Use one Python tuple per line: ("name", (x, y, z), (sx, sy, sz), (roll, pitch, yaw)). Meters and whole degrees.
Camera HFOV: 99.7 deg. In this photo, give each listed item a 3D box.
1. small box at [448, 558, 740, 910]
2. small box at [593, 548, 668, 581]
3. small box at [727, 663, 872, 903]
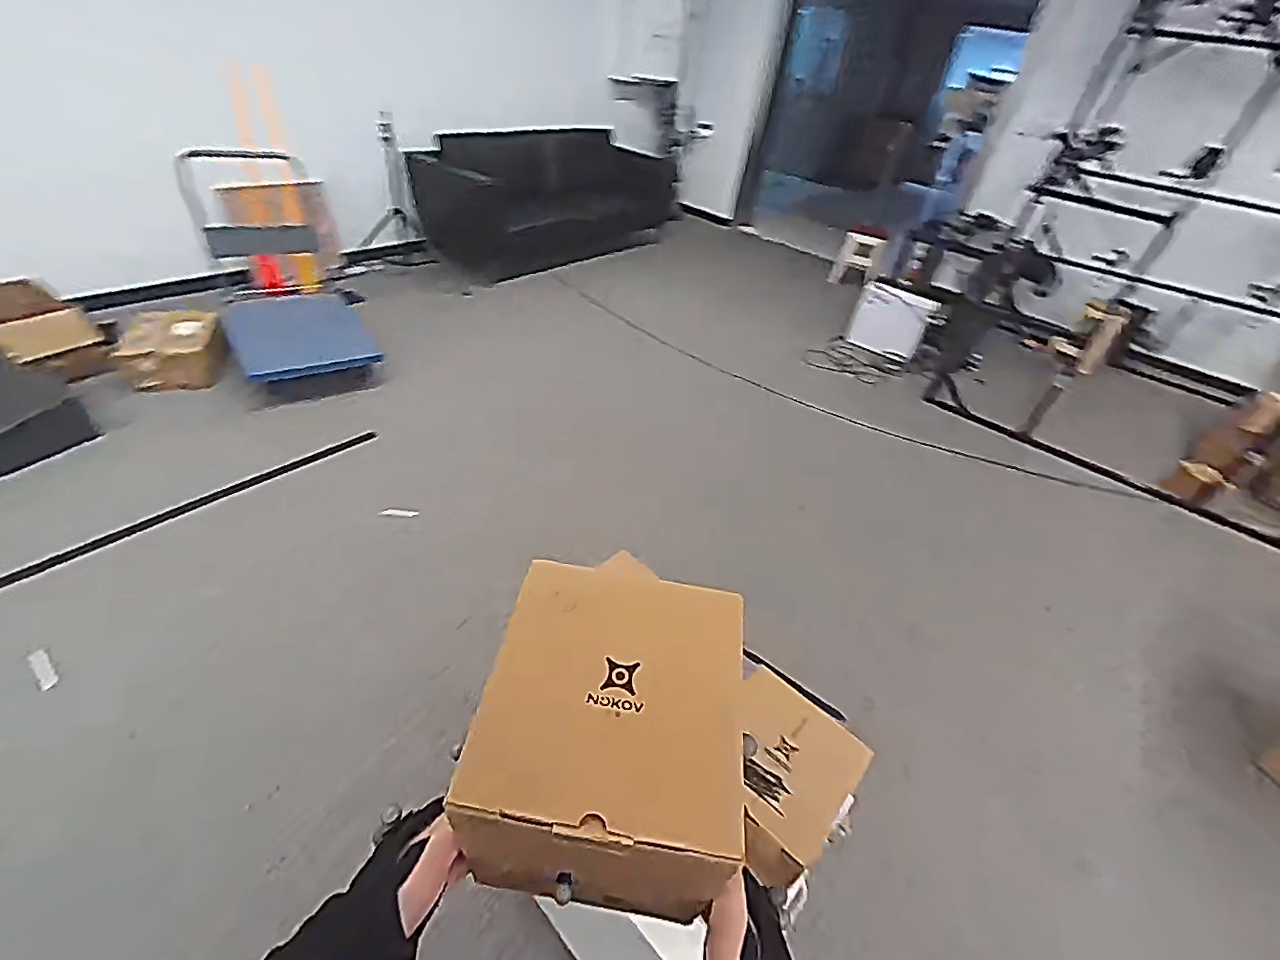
("small box", (-0.025, 0.189, 0.406), (0.168, 0.176, 0.179), (9, 44, 1))
("small box", (-0.029, 0.241, 0.809), (0.168, 0.176, 0.179), (-28, 53, -37))
("small box", (0.154, 0.379, 0.683), (0.168, 0.176, 0.179), (35, 45, 28))
